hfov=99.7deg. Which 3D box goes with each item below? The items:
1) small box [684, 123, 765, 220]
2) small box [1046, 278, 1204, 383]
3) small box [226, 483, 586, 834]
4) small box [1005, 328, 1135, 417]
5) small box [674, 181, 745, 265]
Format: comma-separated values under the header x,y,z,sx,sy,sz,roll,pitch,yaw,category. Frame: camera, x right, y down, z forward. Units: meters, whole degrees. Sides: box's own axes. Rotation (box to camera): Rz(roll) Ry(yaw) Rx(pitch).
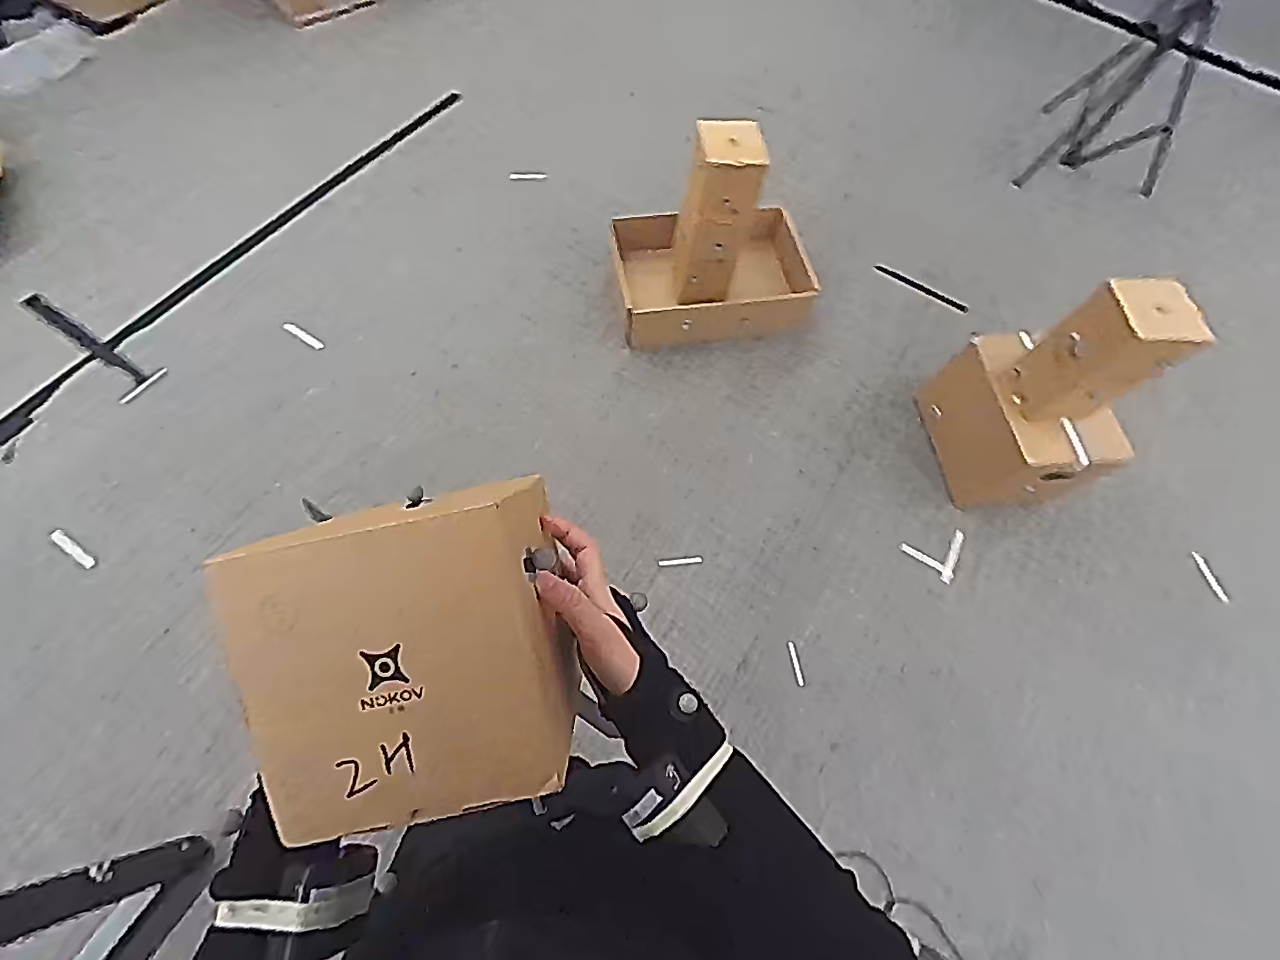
x,y,z,sx,sy,sz,roll,pitch,yaw,category
0.223,-0.845,1.487,0.168,0.176,0.179,-5,66,-9,small box
1.086,-0.335,1.228,0.179,0.176,0.168,-2,66,-5,small box
-0.137,0.100,0.385,0.168,0.176,0.179,-10,95,0,small box
1.077,-0.272,1.377,0.179,0.176,0.168,-4,67,-8,small box
0.204,-0.769,1.631,0.168,0.176,0.179,-4,66,-8,small box
